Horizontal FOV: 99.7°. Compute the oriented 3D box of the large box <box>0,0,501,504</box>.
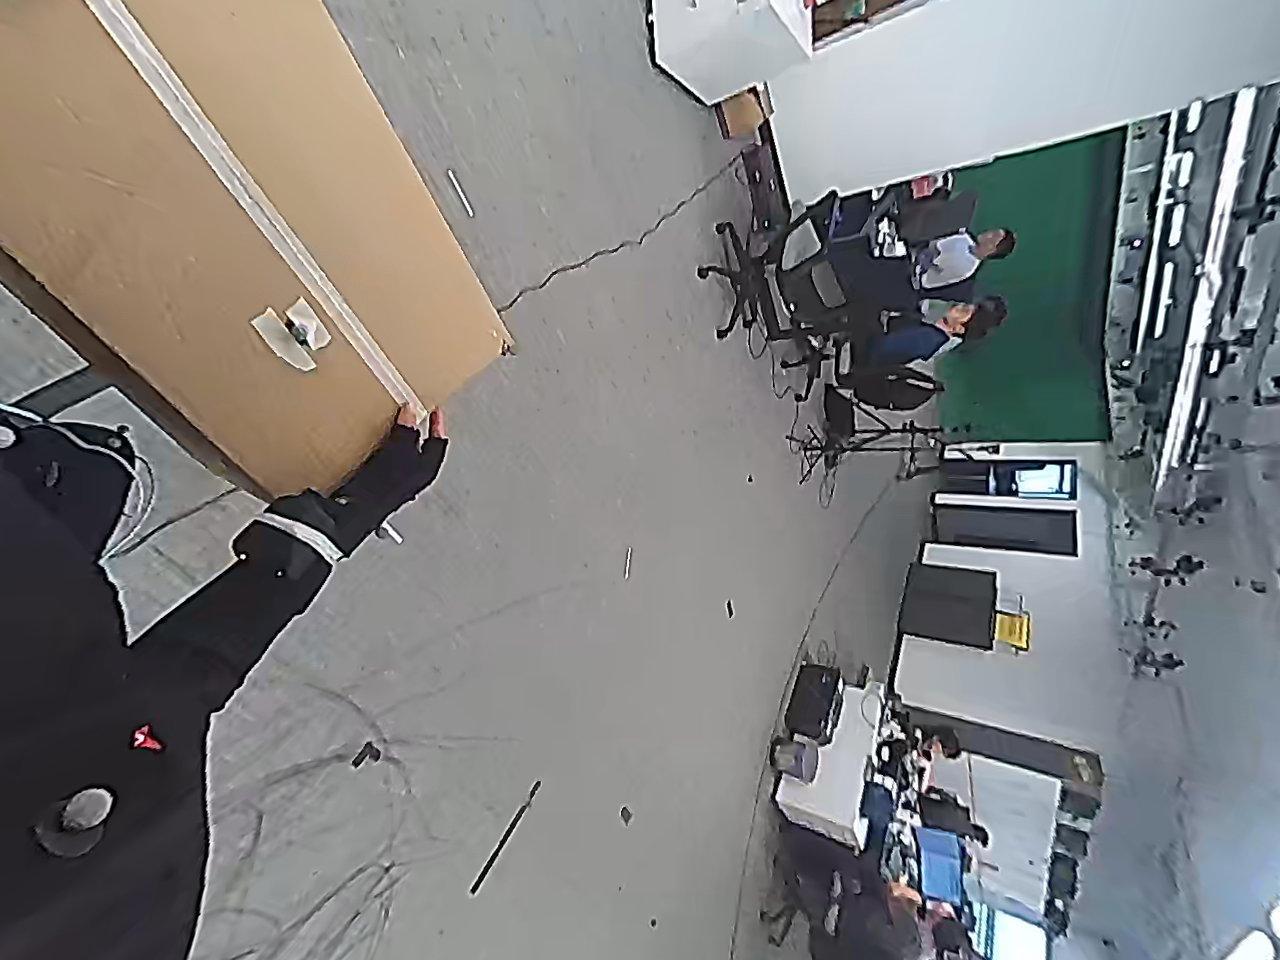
[{"bbox_3d":[-0.439,-0.239,0.578,0.320,0.320,0.408,-51,134,-29],"label":"large box"}]
